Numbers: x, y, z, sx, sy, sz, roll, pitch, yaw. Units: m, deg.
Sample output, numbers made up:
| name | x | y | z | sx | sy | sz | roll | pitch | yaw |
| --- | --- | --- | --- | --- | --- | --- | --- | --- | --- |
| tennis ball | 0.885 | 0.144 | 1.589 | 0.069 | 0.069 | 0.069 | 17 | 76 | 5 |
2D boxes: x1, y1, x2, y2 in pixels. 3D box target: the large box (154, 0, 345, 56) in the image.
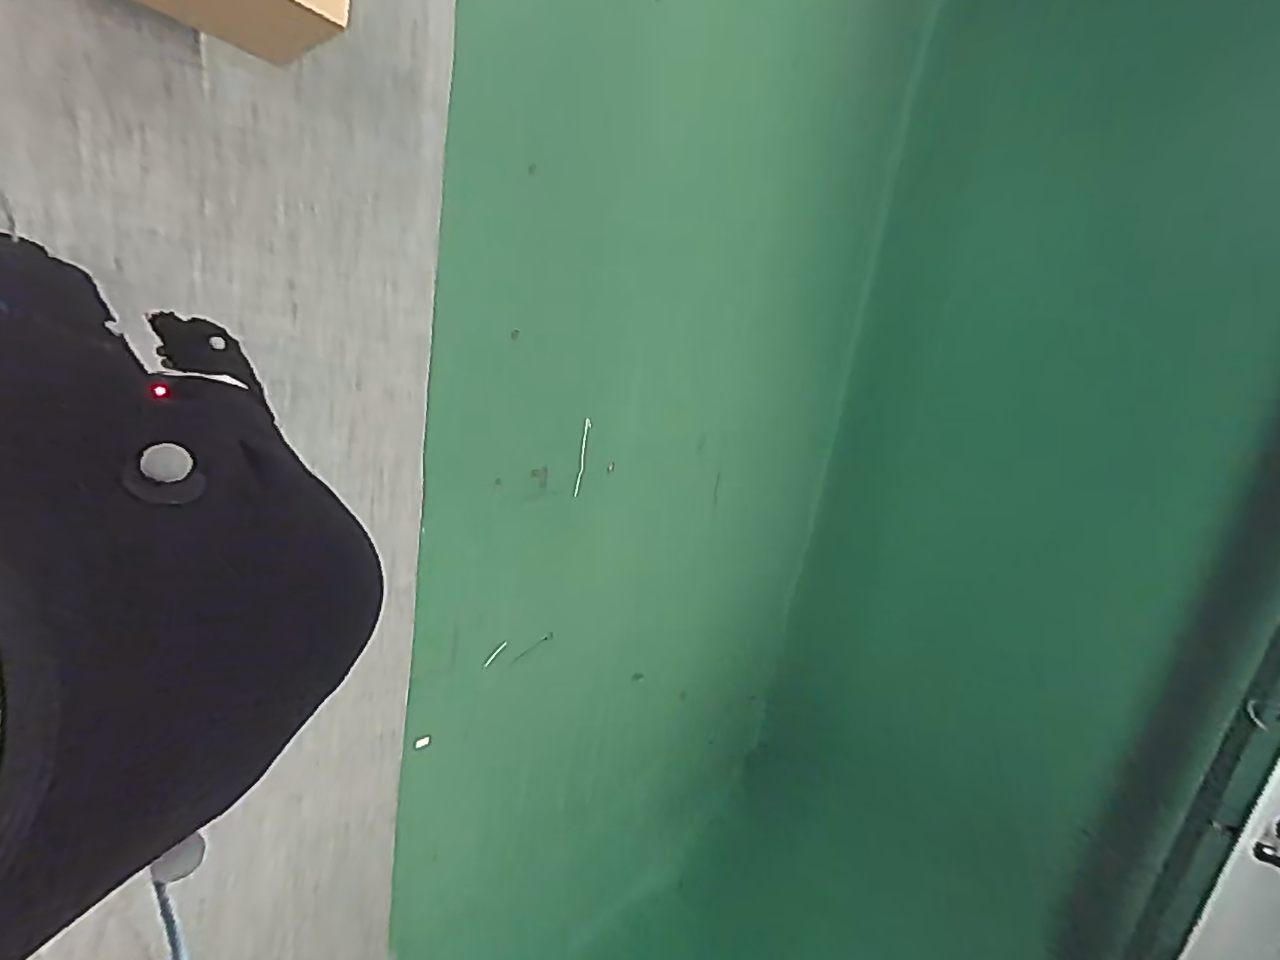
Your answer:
| name | x | y | z | sx | sy | sz | roll | pitch | yaw |
| --- | --- | --- | --- | --- | --- | --- | --- | --- | --- |
| large box | -0.676 | -0.893 | 0.759 | 0.408 | 0.320 | 0.320 | -4 | 109 | -49 |
